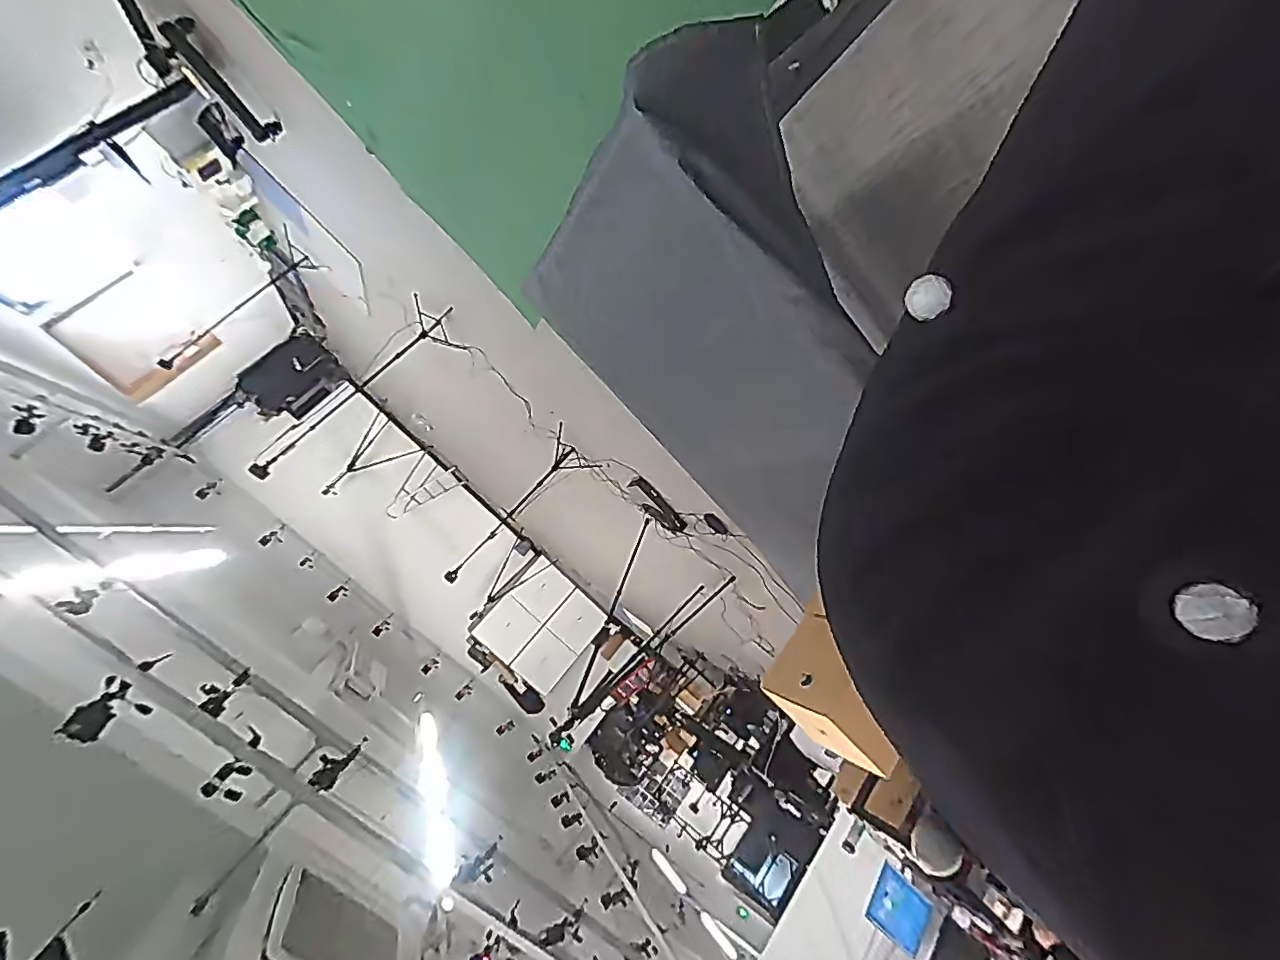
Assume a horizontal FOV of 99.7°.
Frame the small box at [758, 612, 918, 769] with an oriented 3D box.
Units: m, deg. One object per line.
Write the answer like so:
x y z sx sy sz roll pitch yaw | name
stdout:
0.349 0.351 0.938 0.168 0.176 0.179 46 160 -14 | small box
